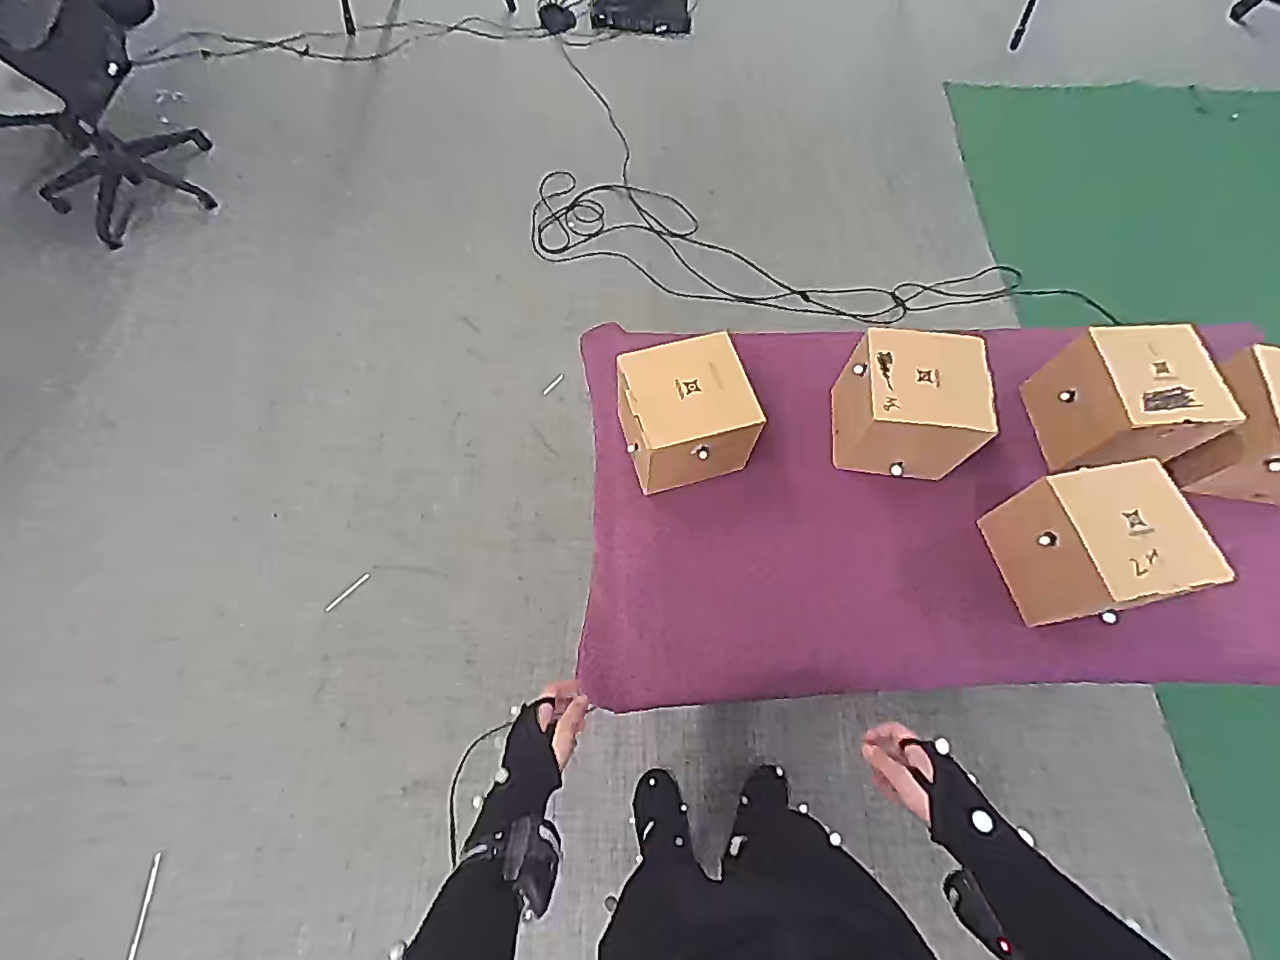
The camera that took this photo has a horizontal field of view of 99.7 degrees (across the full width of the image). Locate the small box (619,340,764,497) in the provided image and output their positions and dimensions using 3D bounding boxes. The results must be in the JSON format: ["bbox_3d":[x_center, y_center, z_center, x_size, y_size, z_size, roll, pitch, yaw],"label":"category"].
[{"bbox_3d":[0.072,-0.089,0.851,0.179,0.176,0.168,-14,67,-7],"label":"small box"}]

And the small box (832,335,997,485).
[{"bbox_3d":[0.422,-0.103,0.859,0.179,0.176,0.168,7,65,2],"label":"small box"}]

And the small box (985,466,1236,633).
[{"bbox_3d":[0.636,0.103,0.763,0.168,0.176,0.179,-9,64,-4],"label":"small box"}]
